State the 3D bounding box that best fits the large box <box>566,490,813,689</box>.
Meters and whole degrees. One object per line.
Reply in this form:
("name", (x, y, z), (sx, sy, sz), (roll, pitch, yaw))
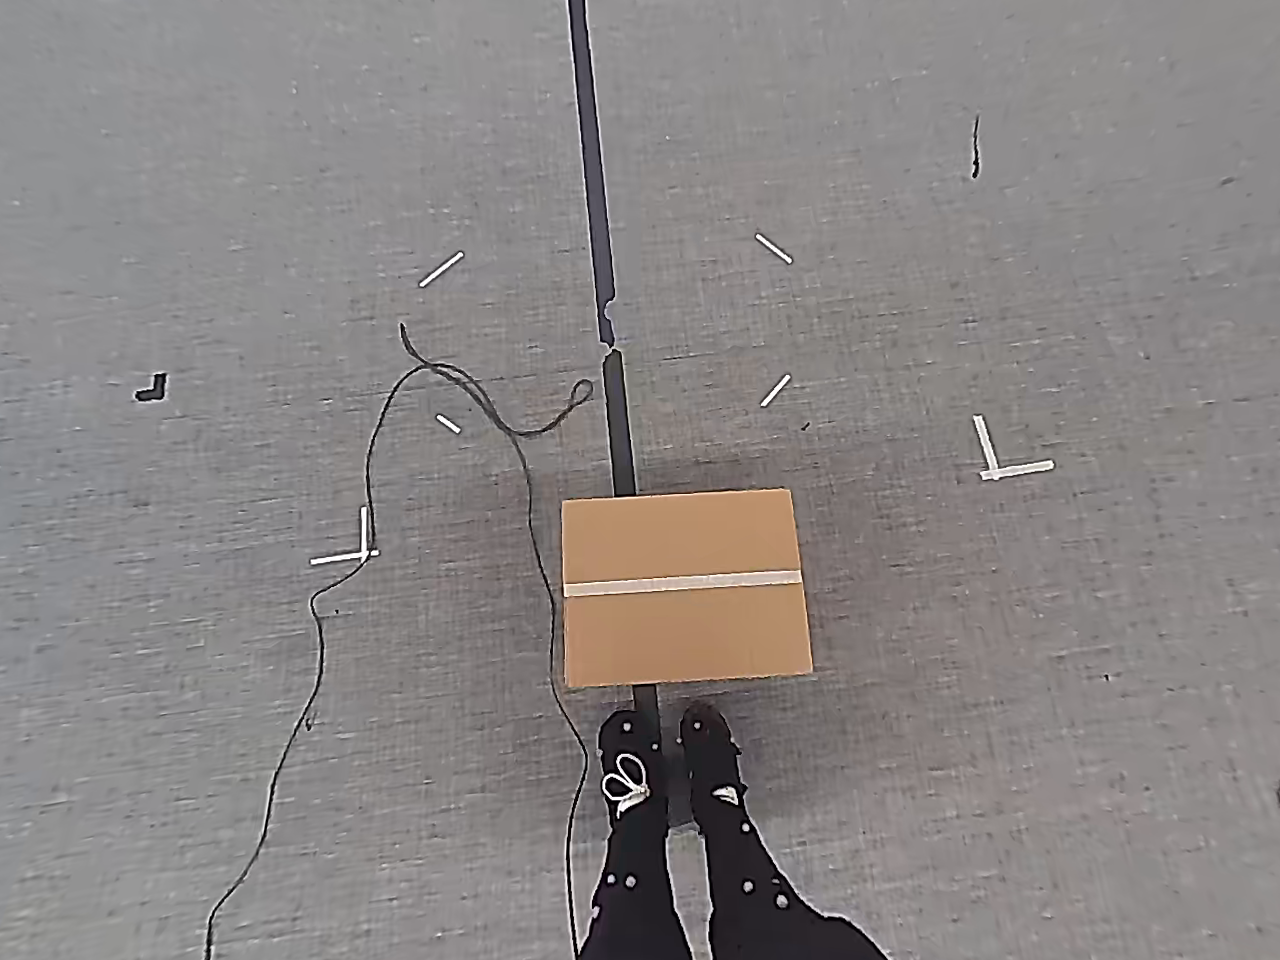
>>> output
("large box", (0.077, 0.217, 1.063), (0.408, 0.320, 0.320), (-3, 77, 0))
